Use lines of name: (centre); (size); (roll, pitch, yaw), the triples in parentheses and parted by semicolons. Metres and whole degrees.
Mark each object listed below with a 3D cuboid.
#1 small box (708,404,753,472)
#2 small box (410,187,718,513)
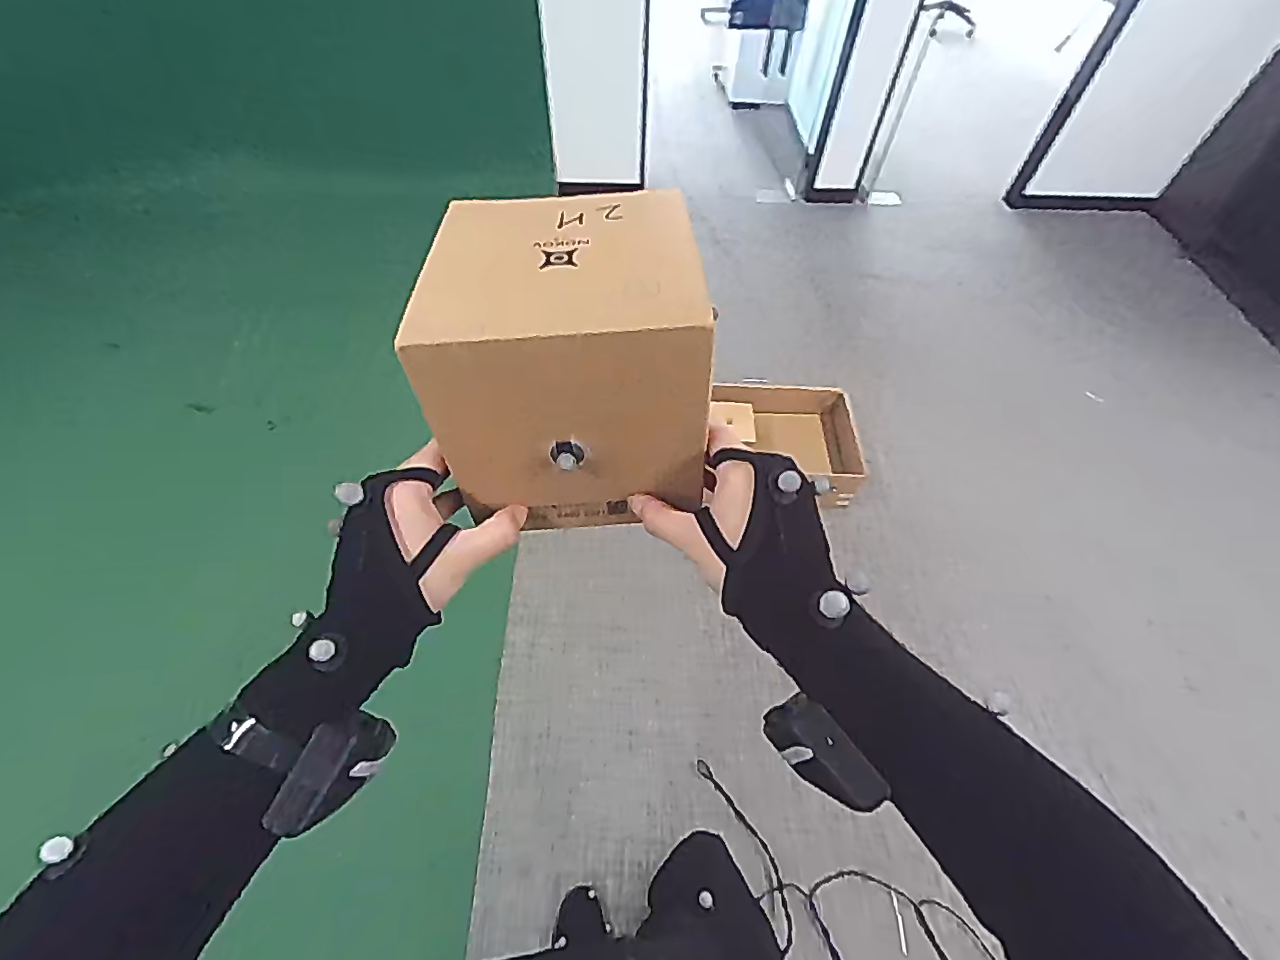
small box: (0.294, -0.145, 1.901); (0.168, 0.176, 0.179); (2, 54, -1)
small box: (-0.038, -0.087, 0.392); (0.168, 0.176, 0.179); (-3, 48, 0)
